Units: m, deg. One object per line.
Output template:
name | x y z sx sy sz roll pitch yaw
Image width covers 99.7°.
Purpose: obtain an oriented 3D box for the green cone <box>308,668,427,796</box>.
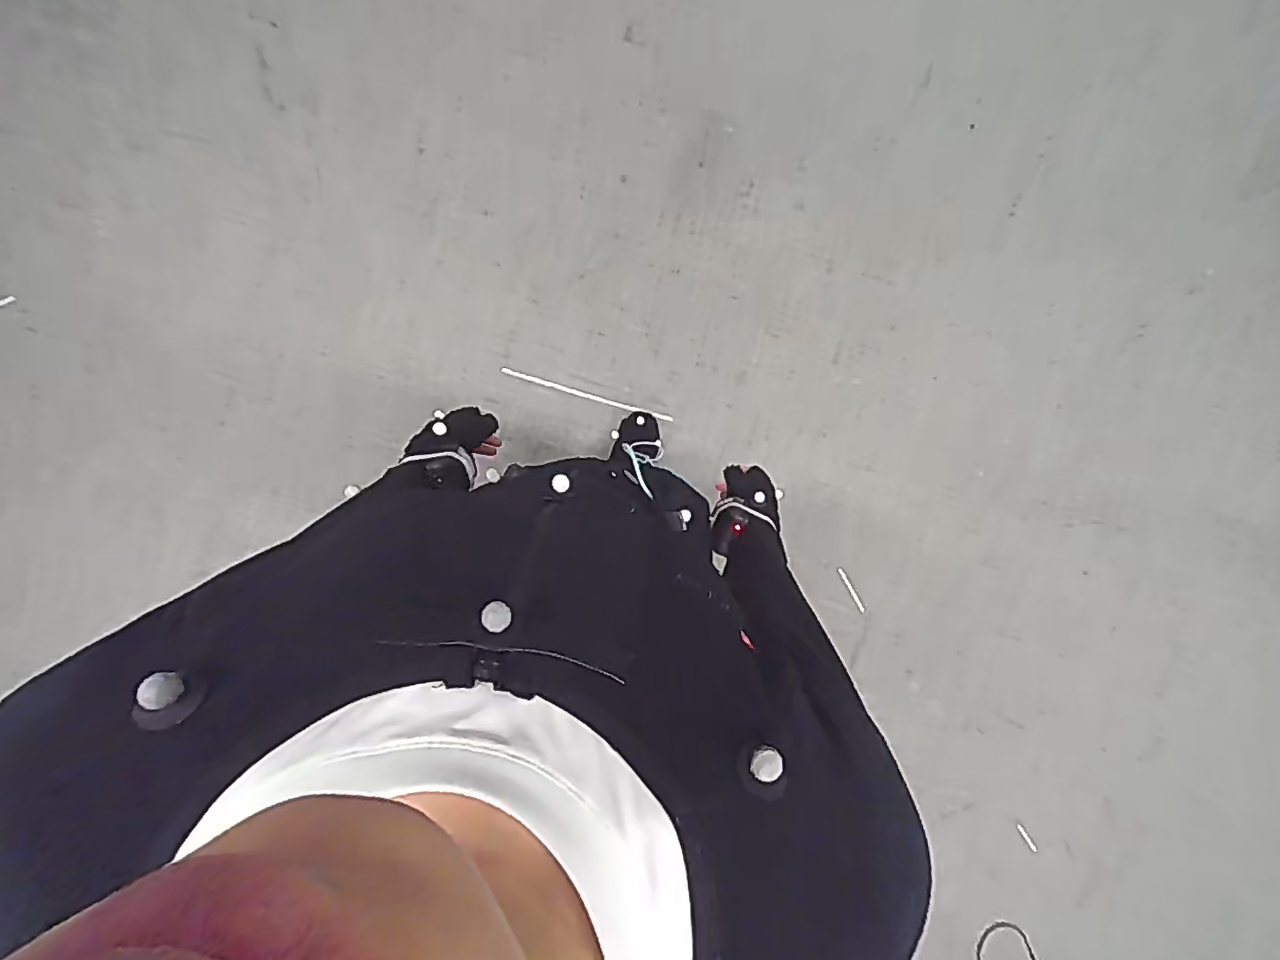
green cone | -0.690 0.635 1.307 0.202 0.368 0.200 15 92 -4
